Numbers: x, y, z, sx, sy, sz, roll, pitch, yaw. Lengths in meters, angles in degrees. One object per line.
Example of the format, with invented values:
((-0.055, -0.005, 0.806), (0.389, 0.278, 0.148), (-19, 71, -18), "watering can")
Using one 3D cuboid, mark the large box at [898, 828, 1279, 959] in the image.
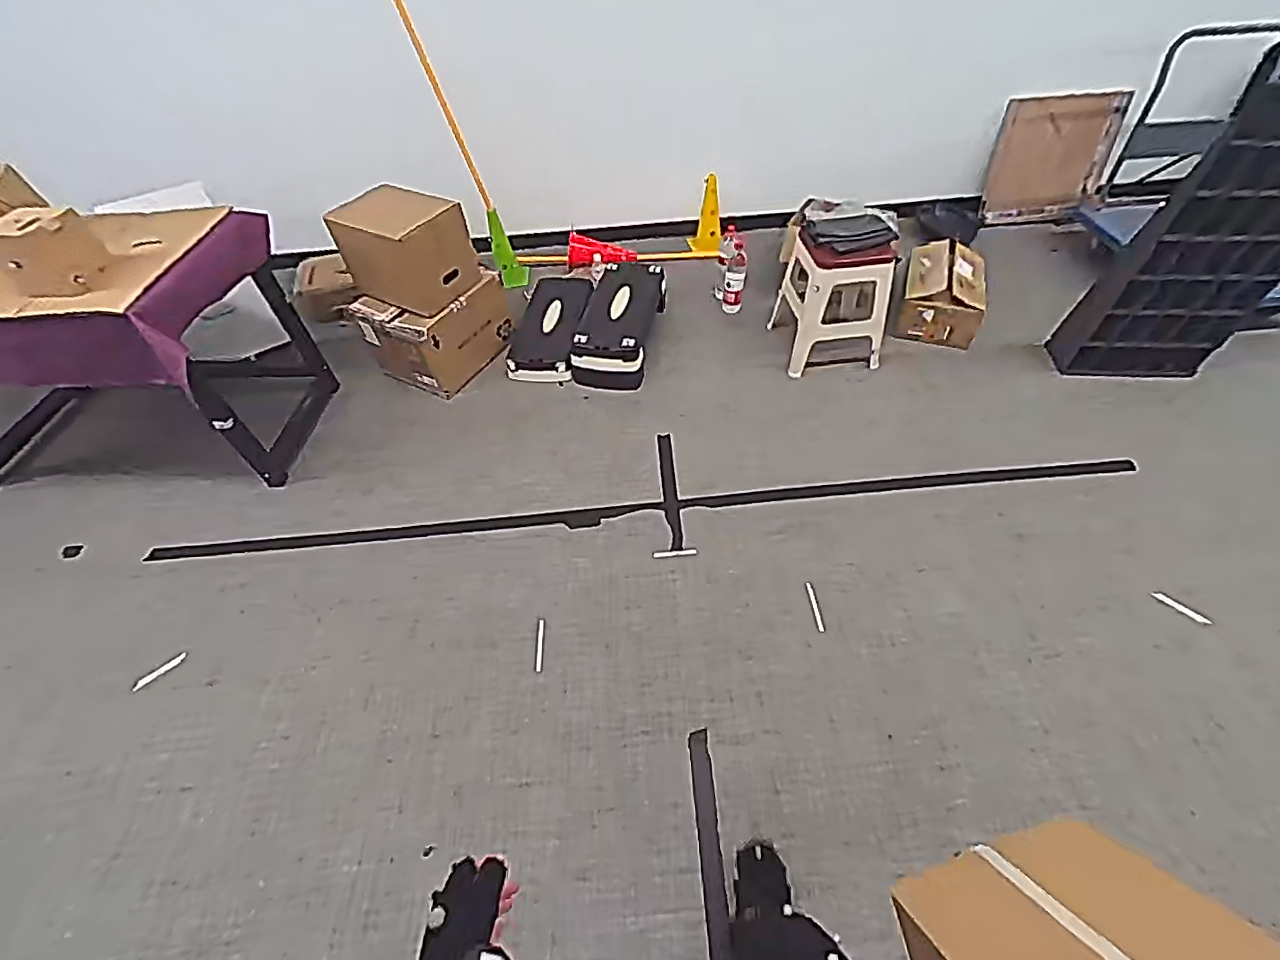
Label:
((0.577, 0.696, 0.607), (0.320, 0.408, 0.320), (-15, 88, -7), "large box")
